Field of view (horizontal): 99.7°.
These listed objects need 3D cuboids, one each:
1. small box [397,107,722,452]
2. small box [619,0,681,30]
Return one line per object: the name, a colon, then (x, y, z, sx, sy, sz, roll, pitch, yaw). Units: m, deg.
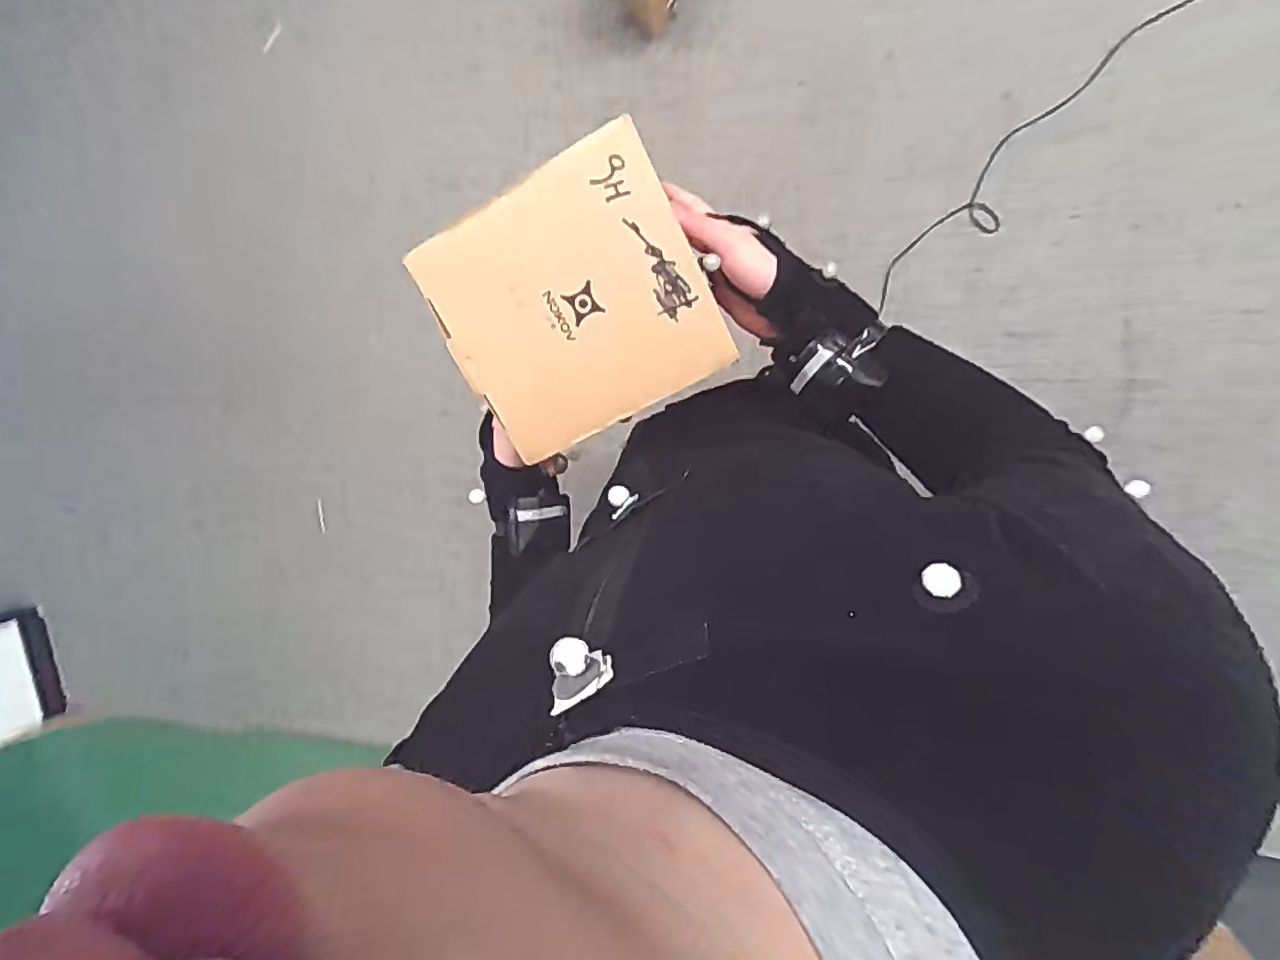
small box: (-0.044, -0.147, 0.436, 0.179, 0.176, 0.168, -24, 105, 14)
small box: (0.012, -1.197, 1.238, 0.179, 0.176, 0.168, 43, 109, 0)
